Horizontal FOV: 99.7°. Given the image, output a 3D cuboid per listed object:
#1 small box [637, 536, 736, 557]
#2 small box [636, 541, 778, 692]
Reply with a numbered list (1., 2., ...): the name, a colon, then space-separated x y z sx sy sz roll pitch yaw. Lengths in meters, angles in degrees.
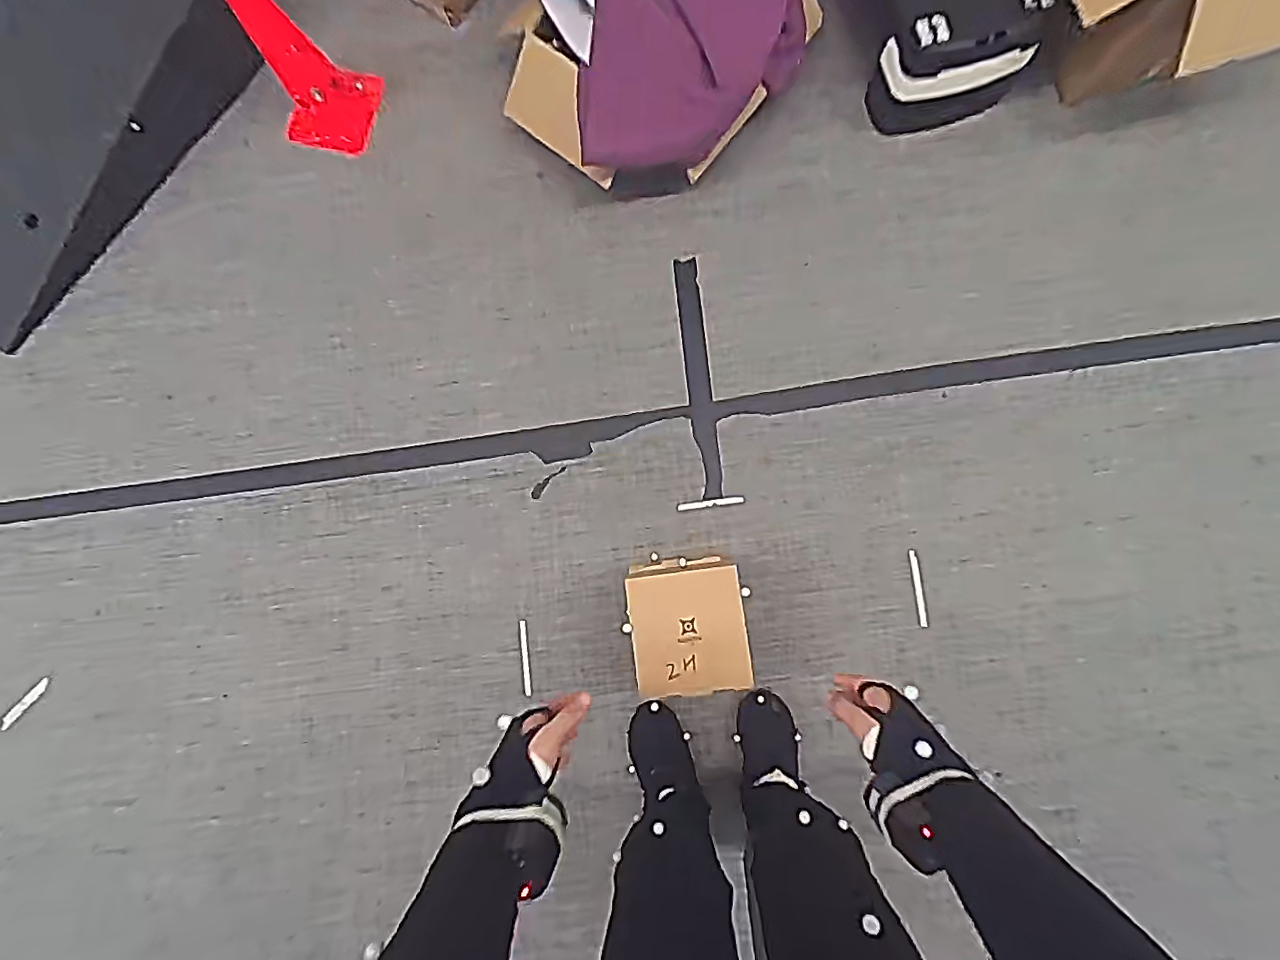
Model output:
1. small box: 0.087 0.194 0.936 0.168 0.176 0.179 -8 85 3
2. small box: 0.088 0.184 0.771 0.168 0.176 0.179 -8 84 3
